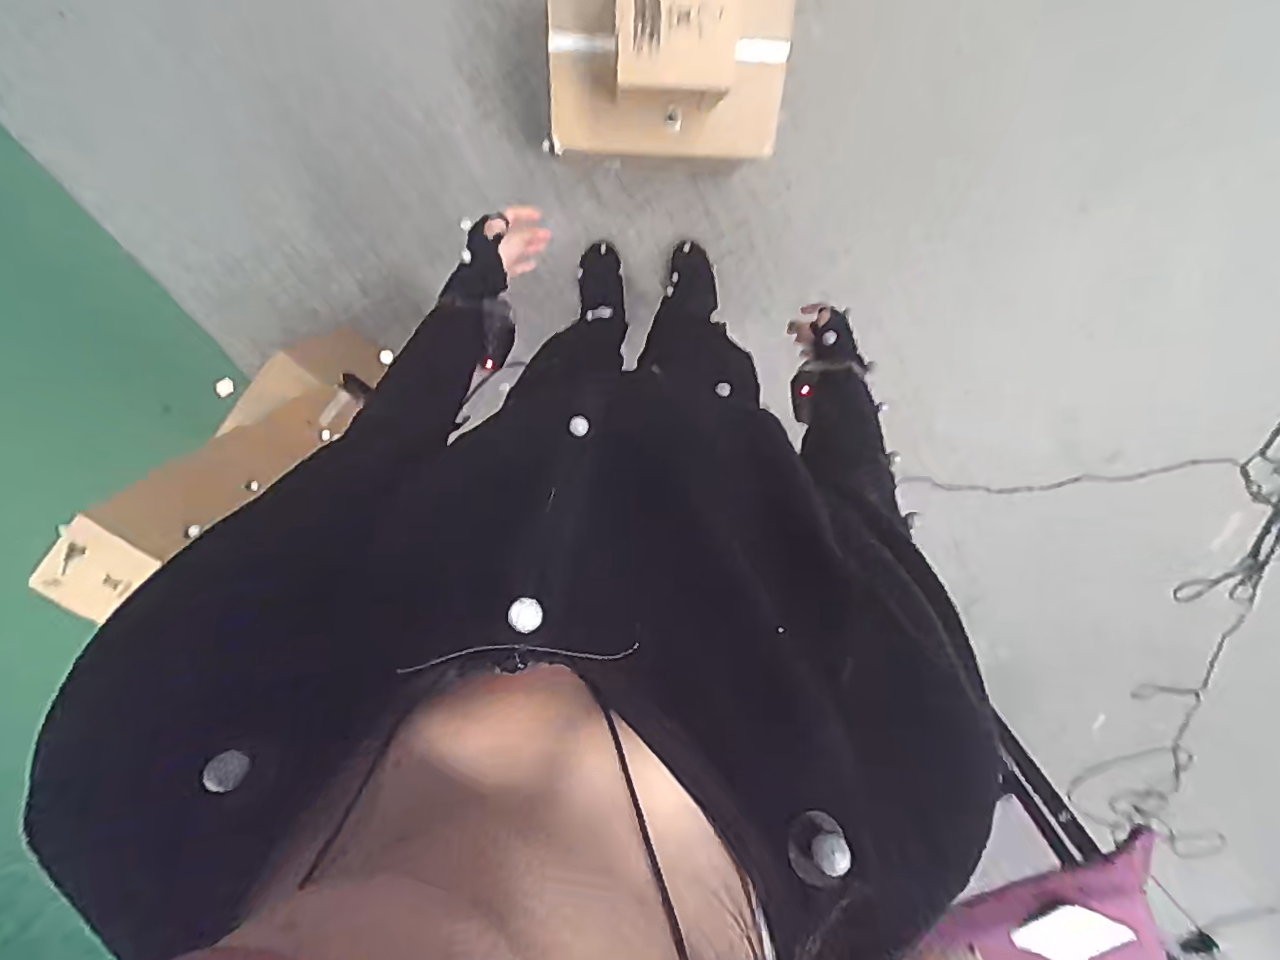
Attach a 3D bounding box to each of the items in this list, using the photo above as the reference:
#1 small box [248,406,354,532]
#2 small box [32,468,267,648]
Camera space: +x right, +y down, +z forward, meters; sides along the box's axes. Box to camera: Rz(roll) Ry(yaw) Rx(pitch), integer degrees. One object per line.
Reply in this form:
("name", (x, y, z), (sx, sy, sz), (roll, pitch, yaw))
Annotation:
("small box", (-0.737, -0.023, 1.124), (0.179, 0.176, 0.168), (-40, 112, 16))
("small box", (-0.726, 0.113, 0.826), (0.168, 0.176, 0.179), (-40, 113, 15))
